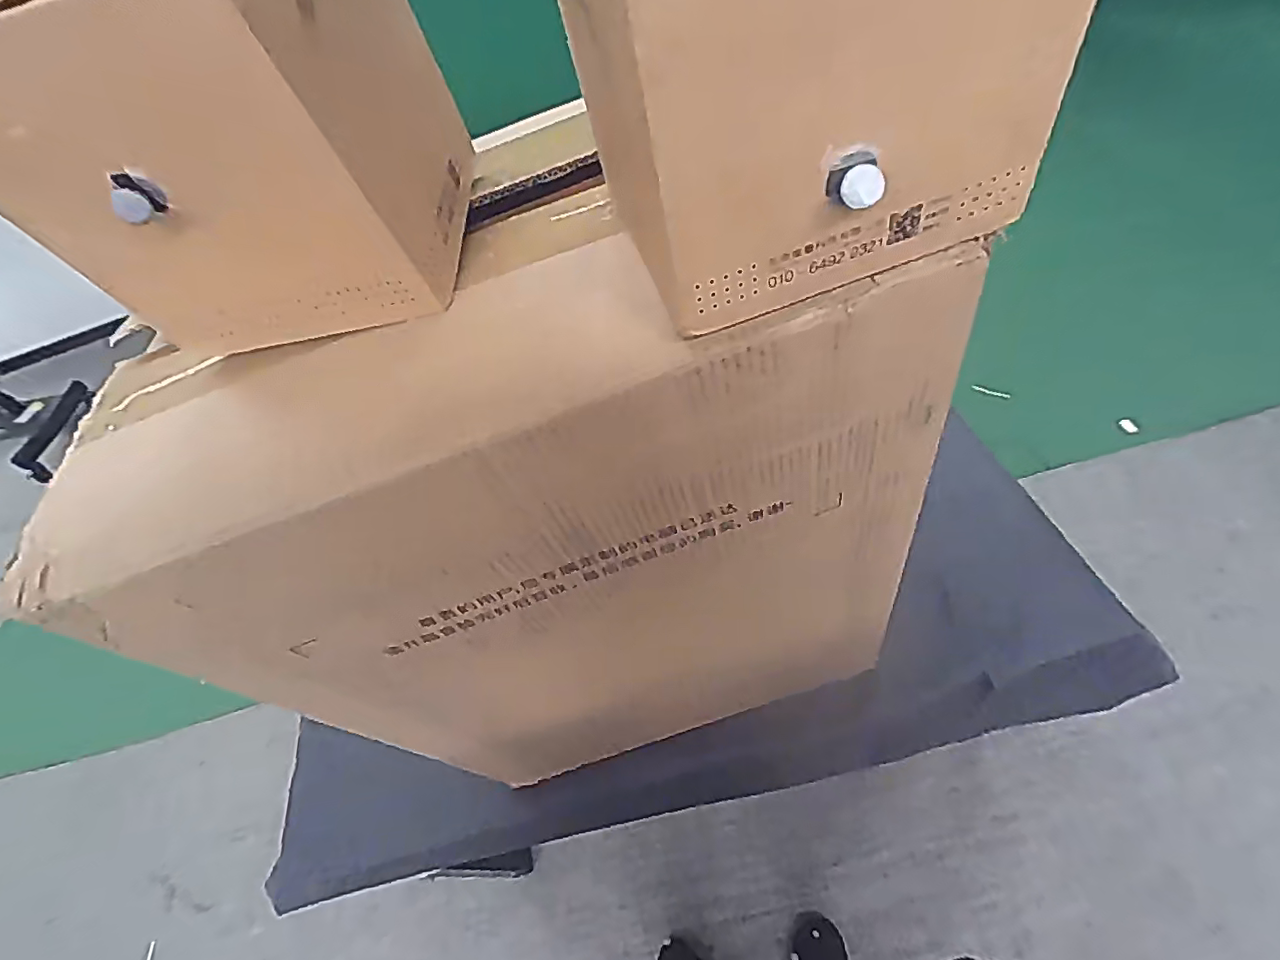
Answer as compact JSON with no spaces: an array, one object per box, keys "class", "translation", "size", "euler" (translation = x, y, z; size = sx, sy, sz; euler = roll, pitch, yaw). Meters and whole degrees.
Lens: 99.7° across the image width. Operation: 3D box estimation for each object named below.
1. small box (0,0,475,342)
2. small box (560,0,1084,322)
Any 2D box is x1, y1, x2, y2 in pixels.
[{"class":"small box","translation":[-0.217,-0.198,0.298],"size":[0.179,0.176,0.168],"euler":[-8,62,10]},{"class":"small box","translation":[0.056,-0.203,0.237],"size":[0.168,0.176,0.179],"euler":[-19,53,2]}]
